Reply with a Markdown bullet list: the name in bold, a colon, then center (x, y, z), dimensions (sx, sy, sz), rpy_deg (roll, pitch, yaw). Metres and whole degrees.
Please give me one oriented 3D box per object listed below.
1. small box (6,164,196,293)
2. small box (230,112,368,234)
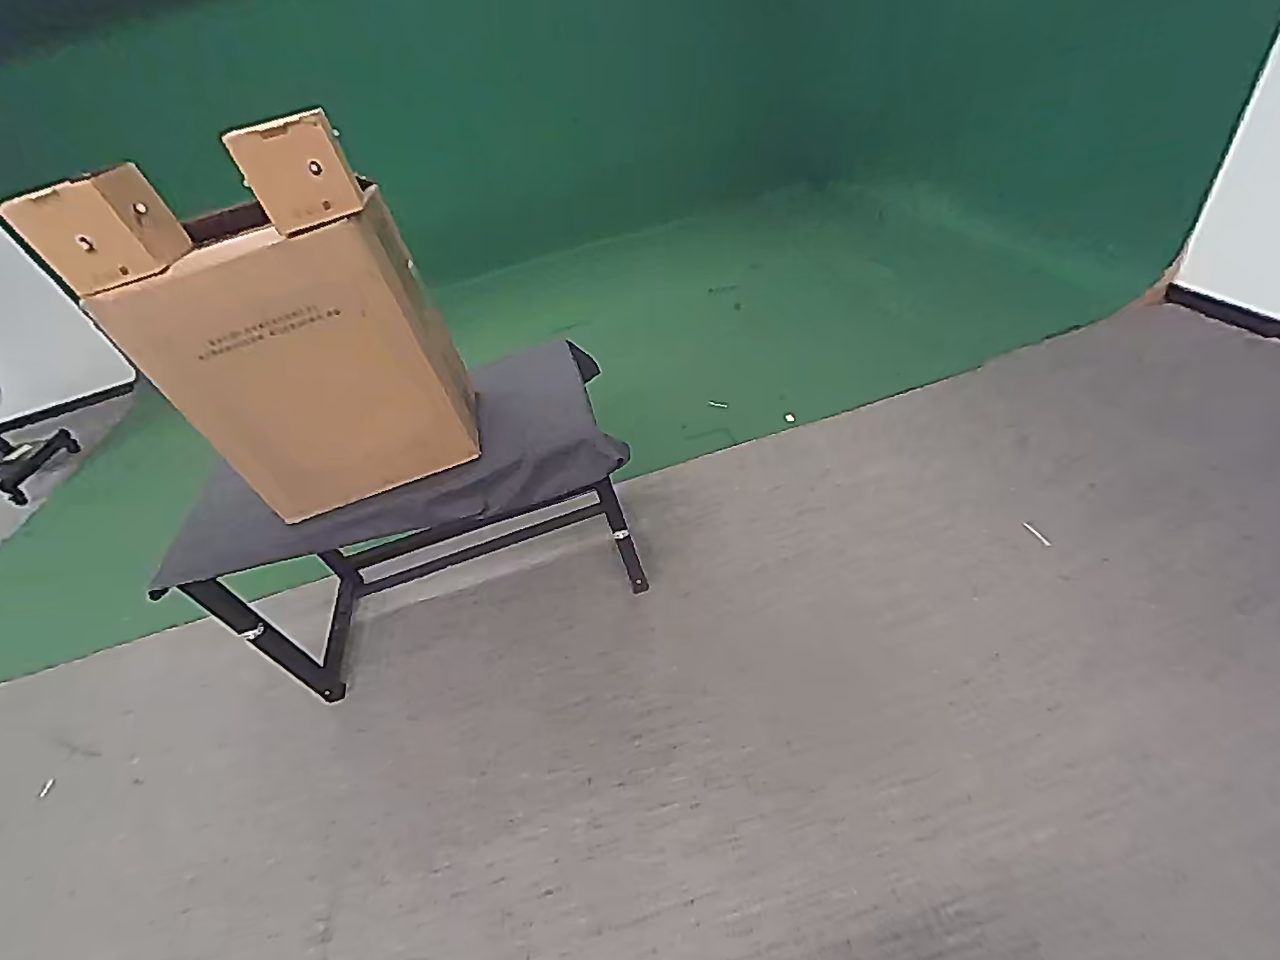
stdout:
- **small box**: center (-1.024, -0.485, 1.052), dimensions (0.168, 0.176, 0.179), rpy_deg (-19, 41, -3)
- **small box**: center (-0.657, -0.602, 1.066), dimensions (0.168, 0.176, 0.179), rpy_deg (-23, 40, -11)
